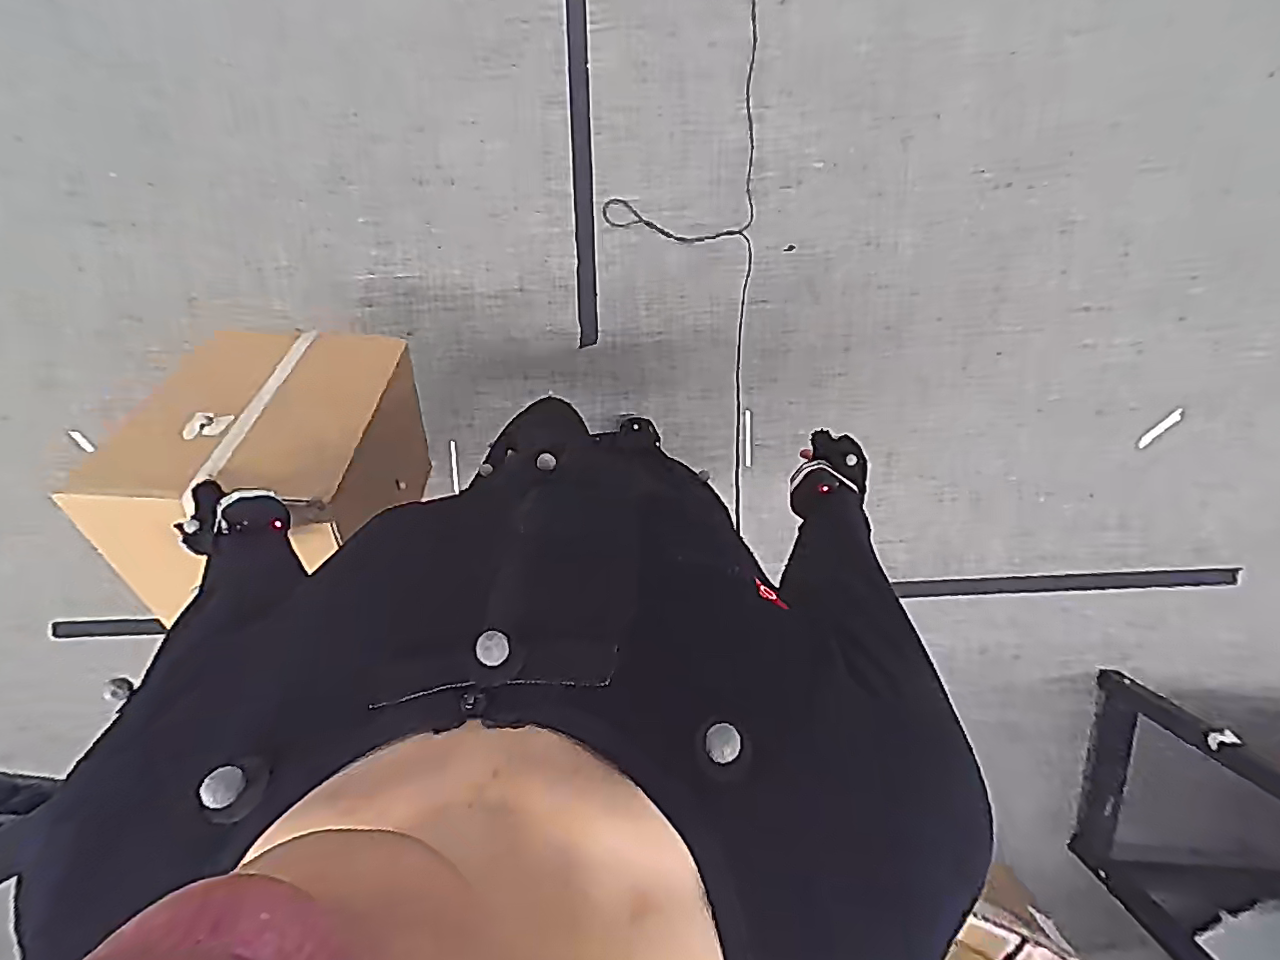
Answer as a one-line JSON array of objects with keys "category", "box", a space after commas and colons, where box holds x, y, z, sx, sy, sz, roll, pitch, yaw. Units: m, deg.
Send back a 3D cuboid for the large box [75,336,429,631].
[{"category": "large box", "box": [-0.572, 0.000, 0.918, 0.320, 0.408, 0.320, 1, 134, -7]}]
